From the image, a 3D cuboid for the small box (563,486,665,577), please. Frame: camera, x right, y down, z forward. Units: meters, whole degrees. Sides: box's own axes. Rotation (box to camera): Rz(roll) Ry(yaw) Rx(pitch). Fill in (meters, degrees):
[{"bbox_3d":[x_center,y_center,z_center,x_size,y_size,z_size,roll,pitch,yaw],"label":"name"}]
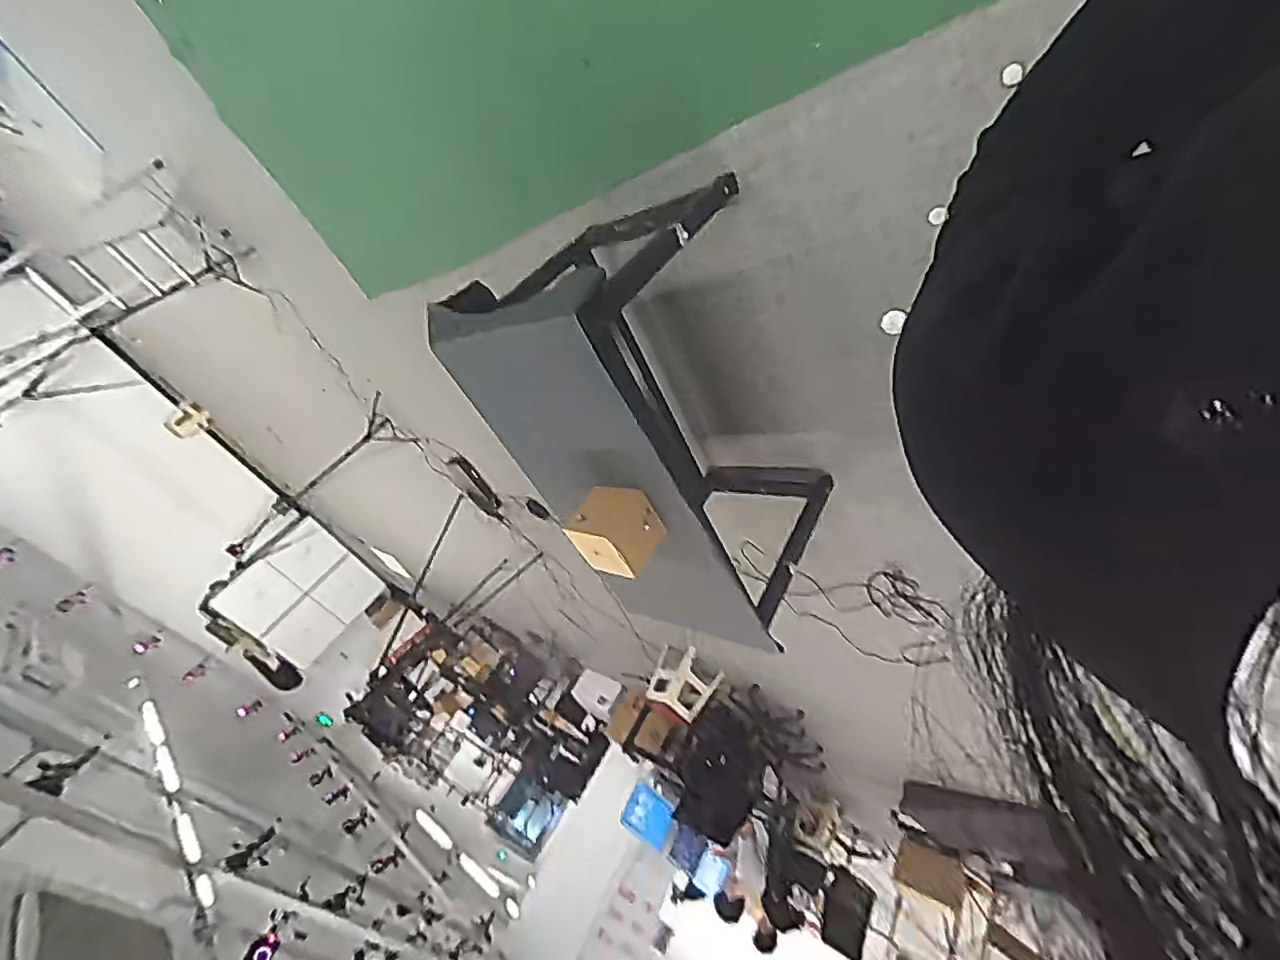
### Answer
[{"bbox_3d":[-0.065,0.131,1.452,0.179,0.176,0.168,4,137,42],"label":"small box"}]
